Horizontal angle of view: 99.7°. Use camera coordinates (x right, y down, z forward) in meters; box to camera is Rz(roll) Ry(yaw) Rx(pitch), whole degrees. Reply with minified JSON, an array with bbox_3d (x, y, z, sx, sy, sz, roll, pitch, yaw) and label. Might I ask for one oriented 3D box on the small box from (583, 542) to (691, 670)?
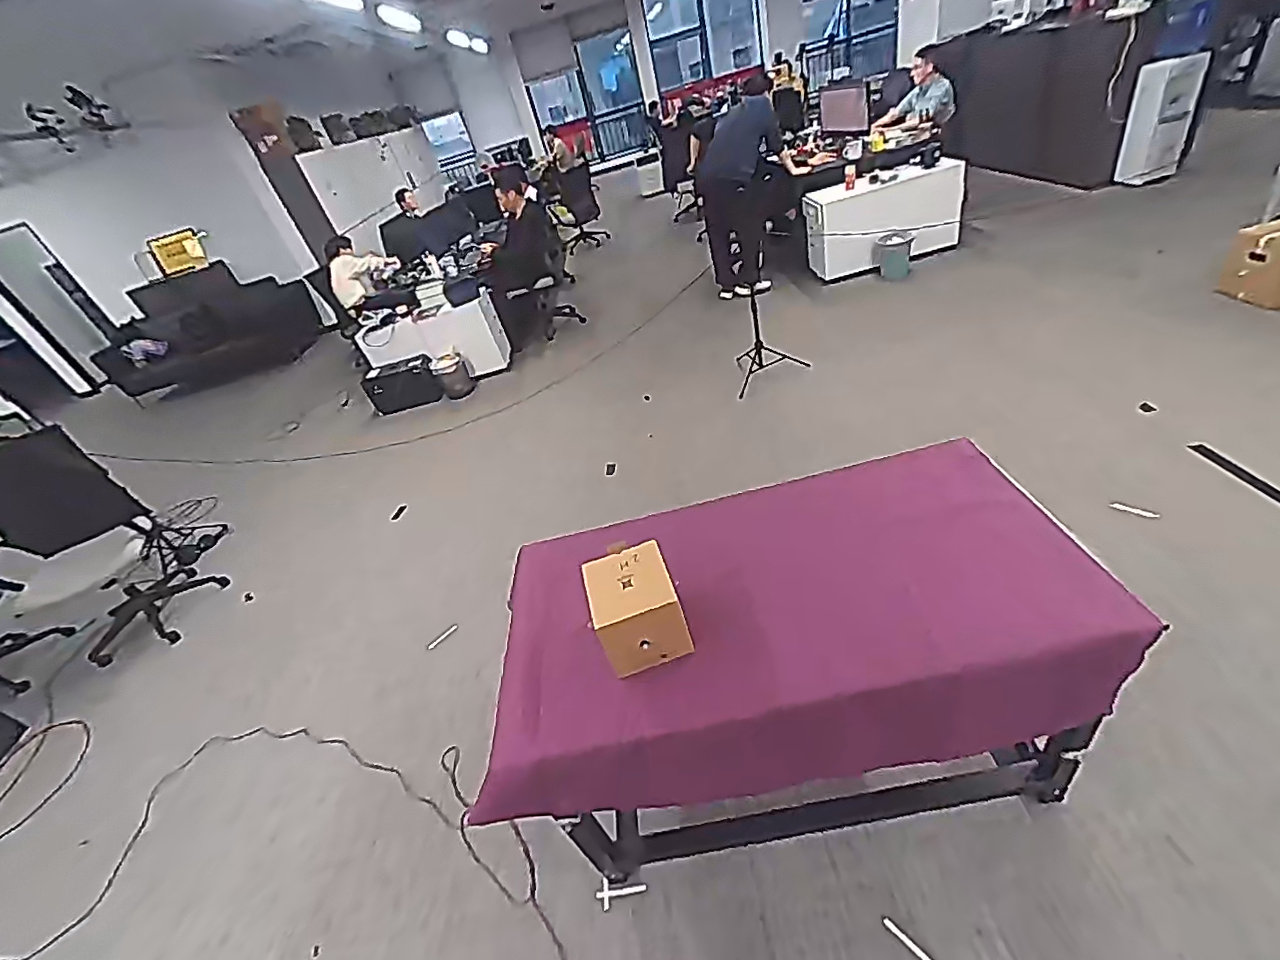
[{"bbox_3d":[-0.005,0.264,1.110,0.168,0.176,0.179,-18,36,-2],"label":"small box"}]
